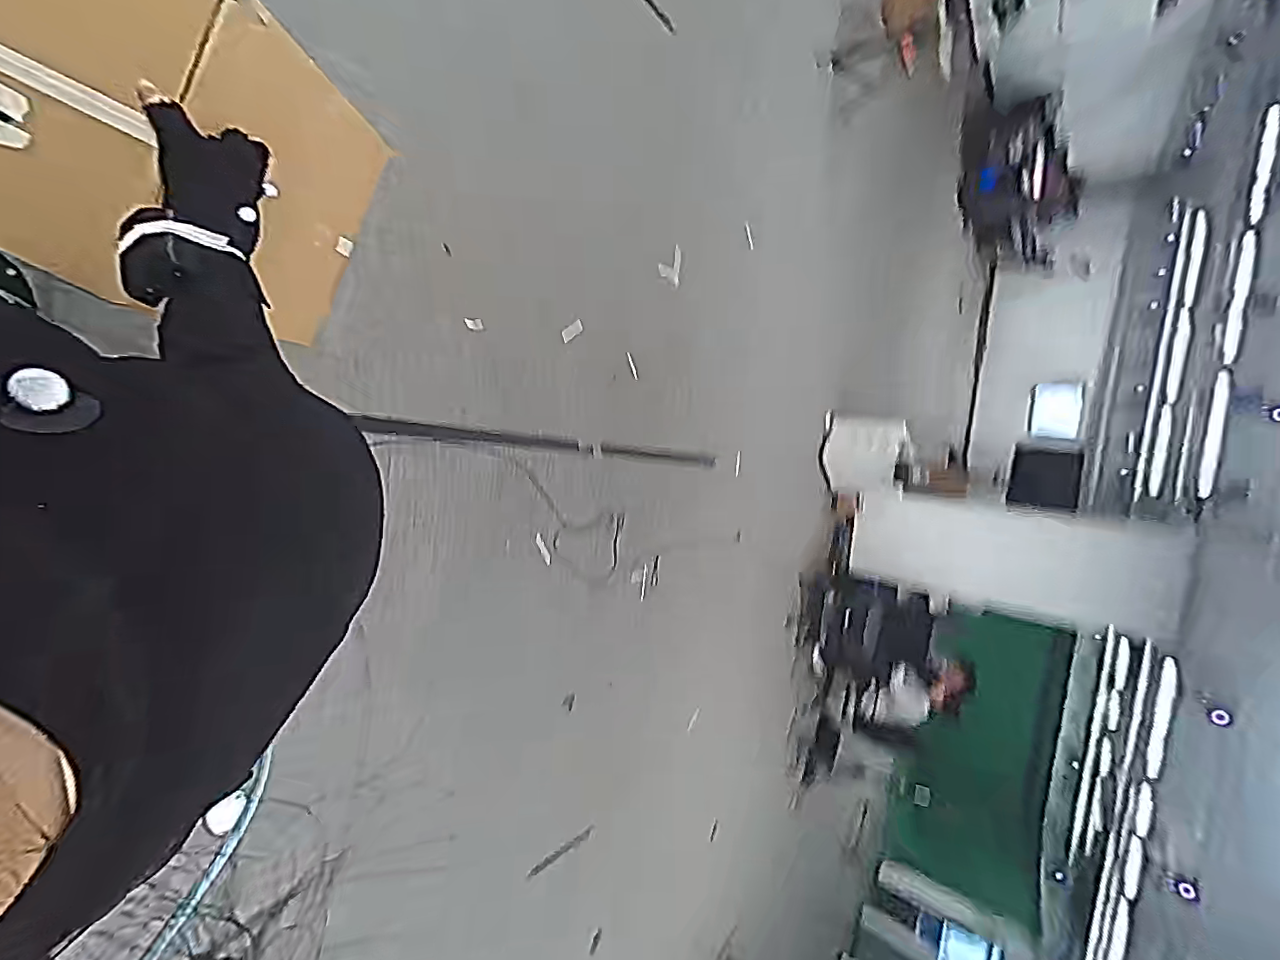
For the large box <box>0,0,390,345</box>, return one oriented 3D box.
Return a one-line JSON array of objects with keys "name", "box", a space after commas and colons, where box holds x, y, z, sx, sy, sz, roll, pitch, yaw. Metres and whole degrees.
[{"name": "large box", "box": [-0.594, -0.402, 0.630, 0.320, 0.408, 0.320, -62, -175, 6]}]
